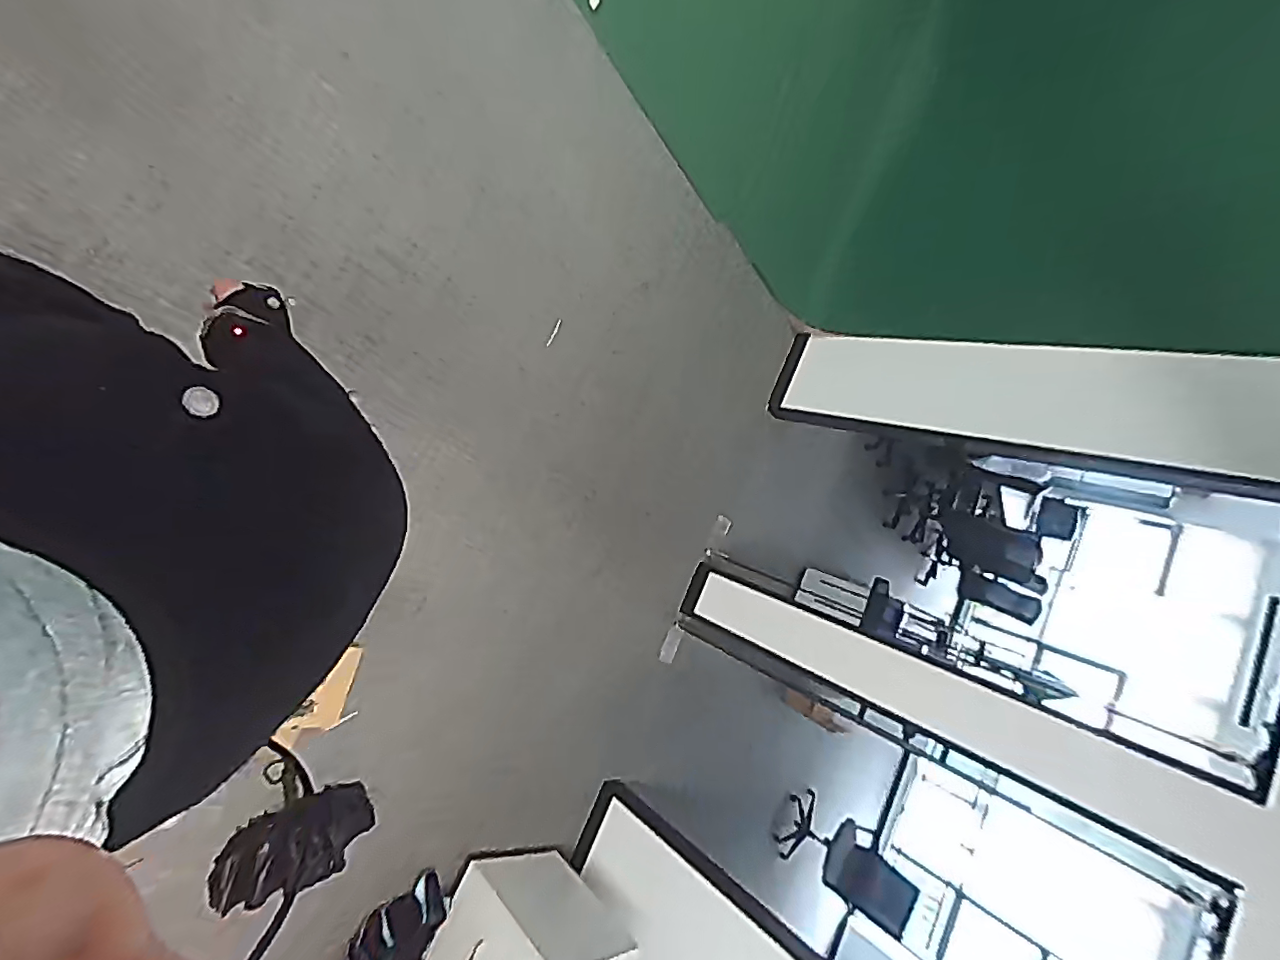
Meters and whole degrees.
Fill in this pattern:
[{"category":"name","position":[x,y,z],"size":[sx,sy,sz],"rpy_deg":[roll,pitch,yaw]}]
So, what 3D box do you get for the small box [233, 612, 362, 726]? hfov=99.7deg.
[{"category":"small box","position":[-0.735,0.399,1.156],"size":[0.168,0.176,0.179],"rpy_deg":[24,81,-49]}]
